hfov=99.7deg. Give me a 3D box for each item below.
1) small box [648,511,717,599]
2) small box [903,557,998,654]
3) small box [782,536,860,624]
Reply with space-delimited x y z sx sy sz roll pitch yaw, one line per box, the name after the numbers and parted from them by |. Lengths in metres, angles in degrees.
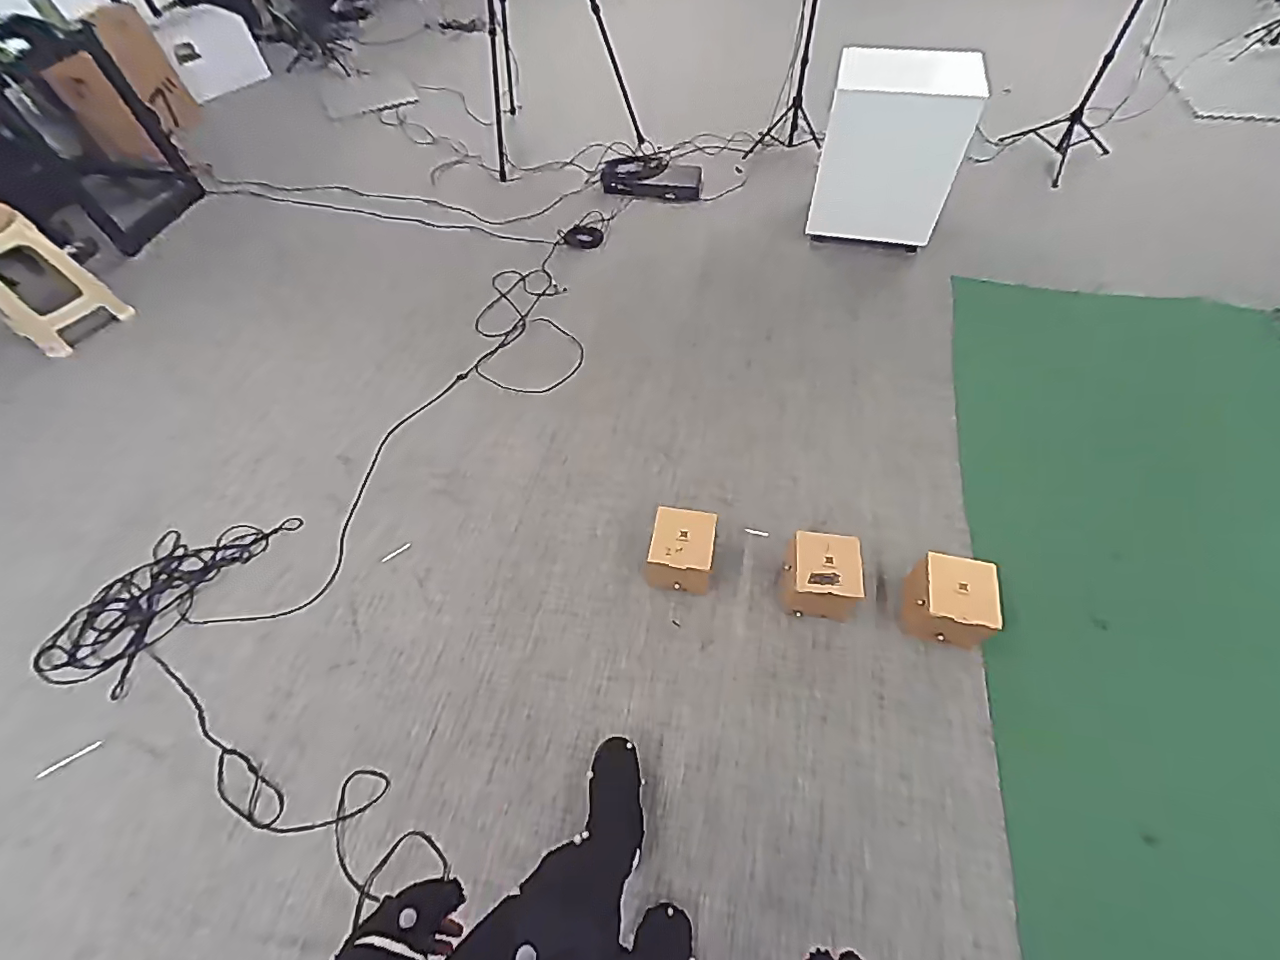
0.119 0.211 1.516 0.168 0.176 0.179 8 57 9 | small box
0.799 0.329 1.411 0.168 0.176 0.179 10 57 10 | small box
0.484 0.274 1.460 0.168 0.176 0.179 6 55 6 | small box
